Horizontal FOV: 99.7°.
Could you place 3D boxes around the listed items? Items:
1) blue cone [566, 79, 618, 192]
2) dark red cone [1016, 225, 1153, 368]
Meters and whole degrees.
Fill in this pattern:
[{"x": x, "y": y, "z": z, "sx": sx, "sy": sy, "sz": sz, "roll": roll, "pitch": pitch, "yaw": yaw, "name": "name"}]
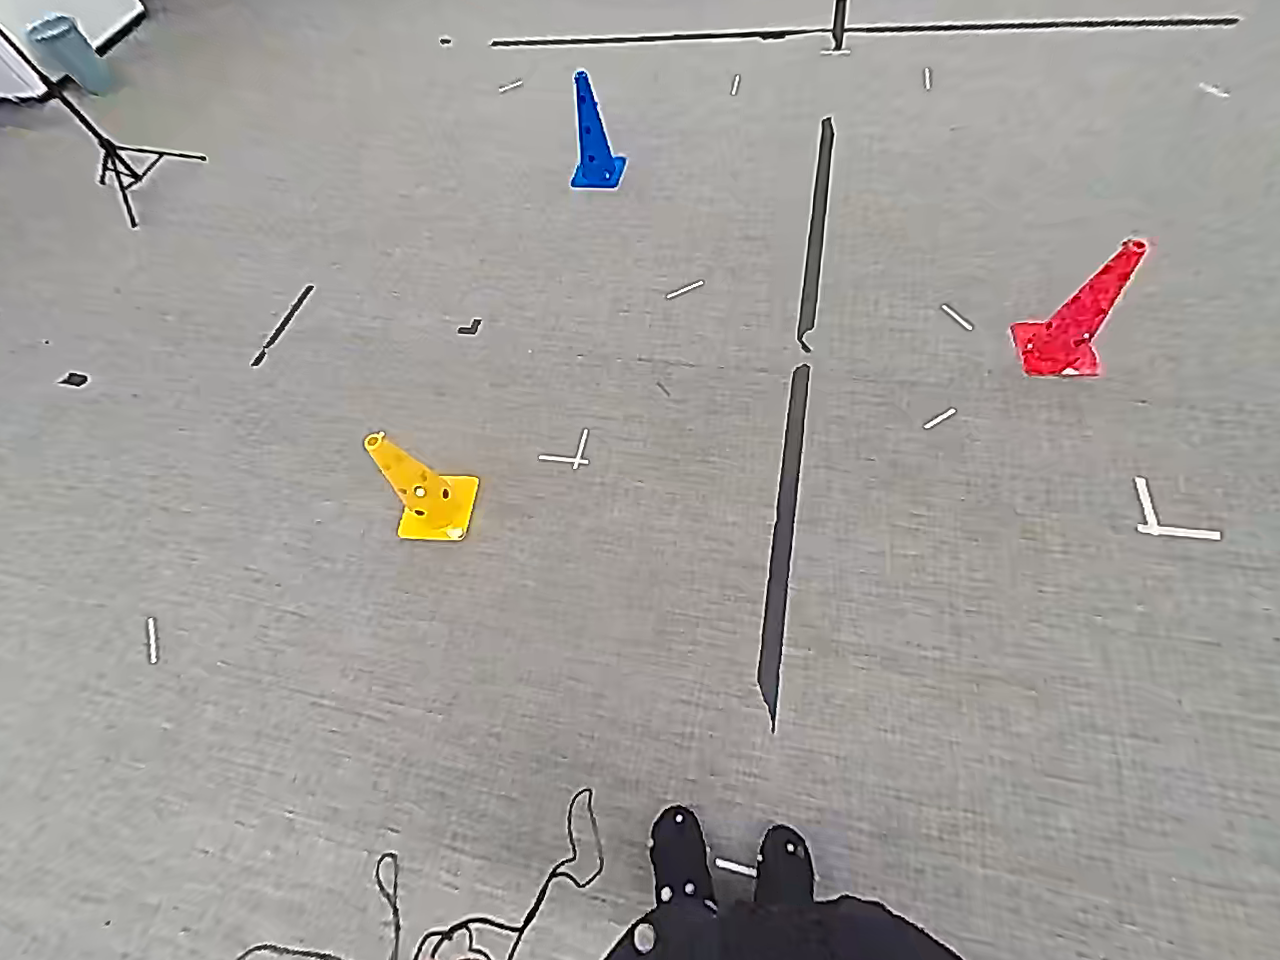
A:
[{"x": -0.213, "y": -1.324, "z": 2.077, "sx": 0.192, "sy": 0.380, "sz": 0.193, "roll": 8, "pitch": 62, "yaw": 13, "name": "blue cone"}, {"x": 1.175, "y": -0.479, "z": 1.401, "sx": 0.201, "sy": 0.394, "sz": 0.202, "roll": 0, "pitch": 61, "yaw": 9, "name": "dark red cone"}]
